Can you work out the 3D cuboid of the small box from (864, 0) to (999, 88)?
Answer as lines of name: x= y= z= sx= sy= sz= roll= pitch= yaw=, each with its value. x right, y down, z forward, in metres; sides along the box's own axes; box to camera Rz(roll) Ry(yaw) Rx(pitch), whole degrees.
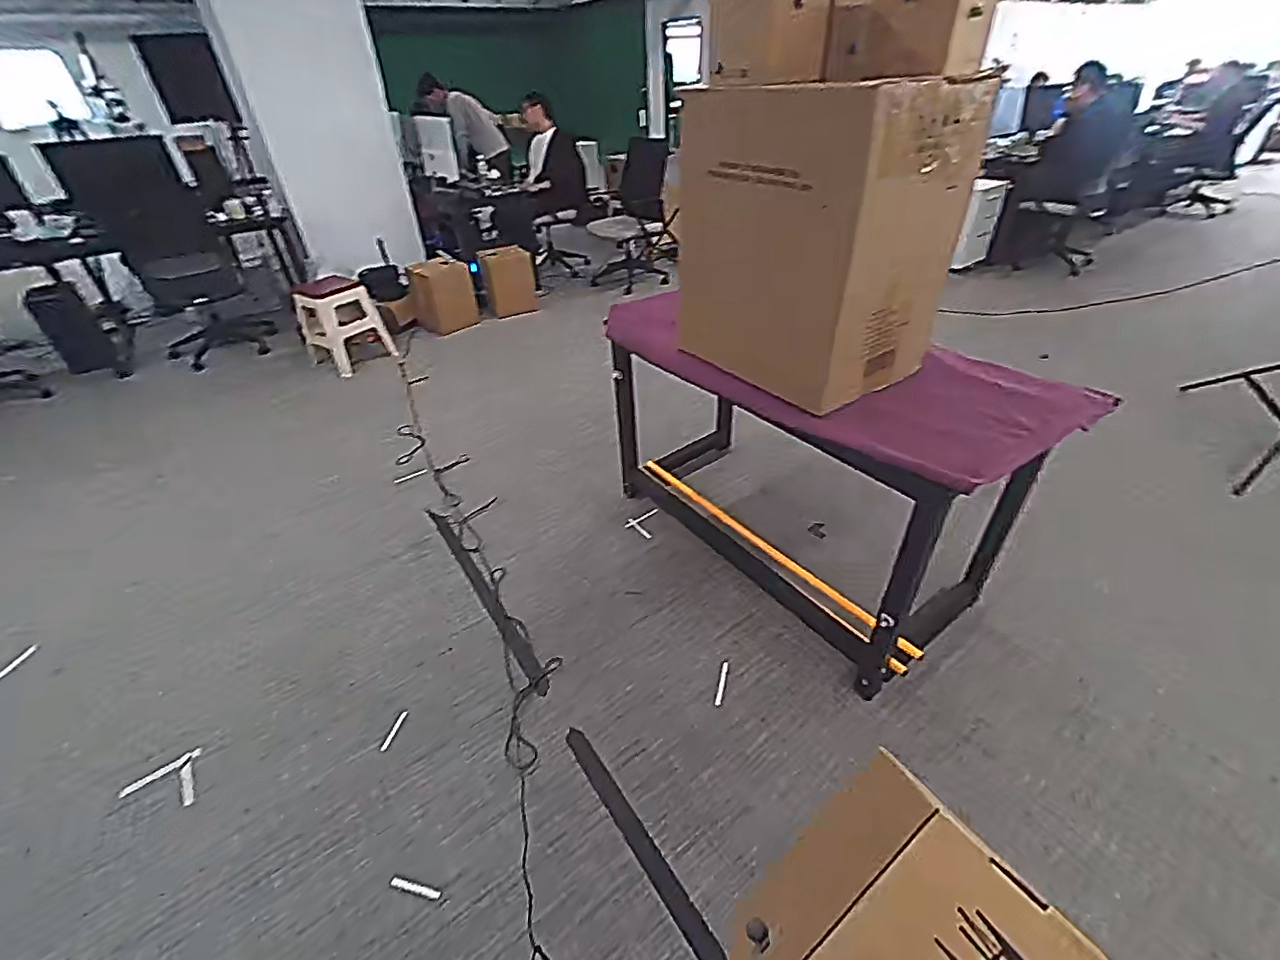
small box: x=0.559 y=-0.863 z=1.033 sx=0.168 sy=0.176 sz=0.179 roll=-29 pitch=42 yaw=-30
